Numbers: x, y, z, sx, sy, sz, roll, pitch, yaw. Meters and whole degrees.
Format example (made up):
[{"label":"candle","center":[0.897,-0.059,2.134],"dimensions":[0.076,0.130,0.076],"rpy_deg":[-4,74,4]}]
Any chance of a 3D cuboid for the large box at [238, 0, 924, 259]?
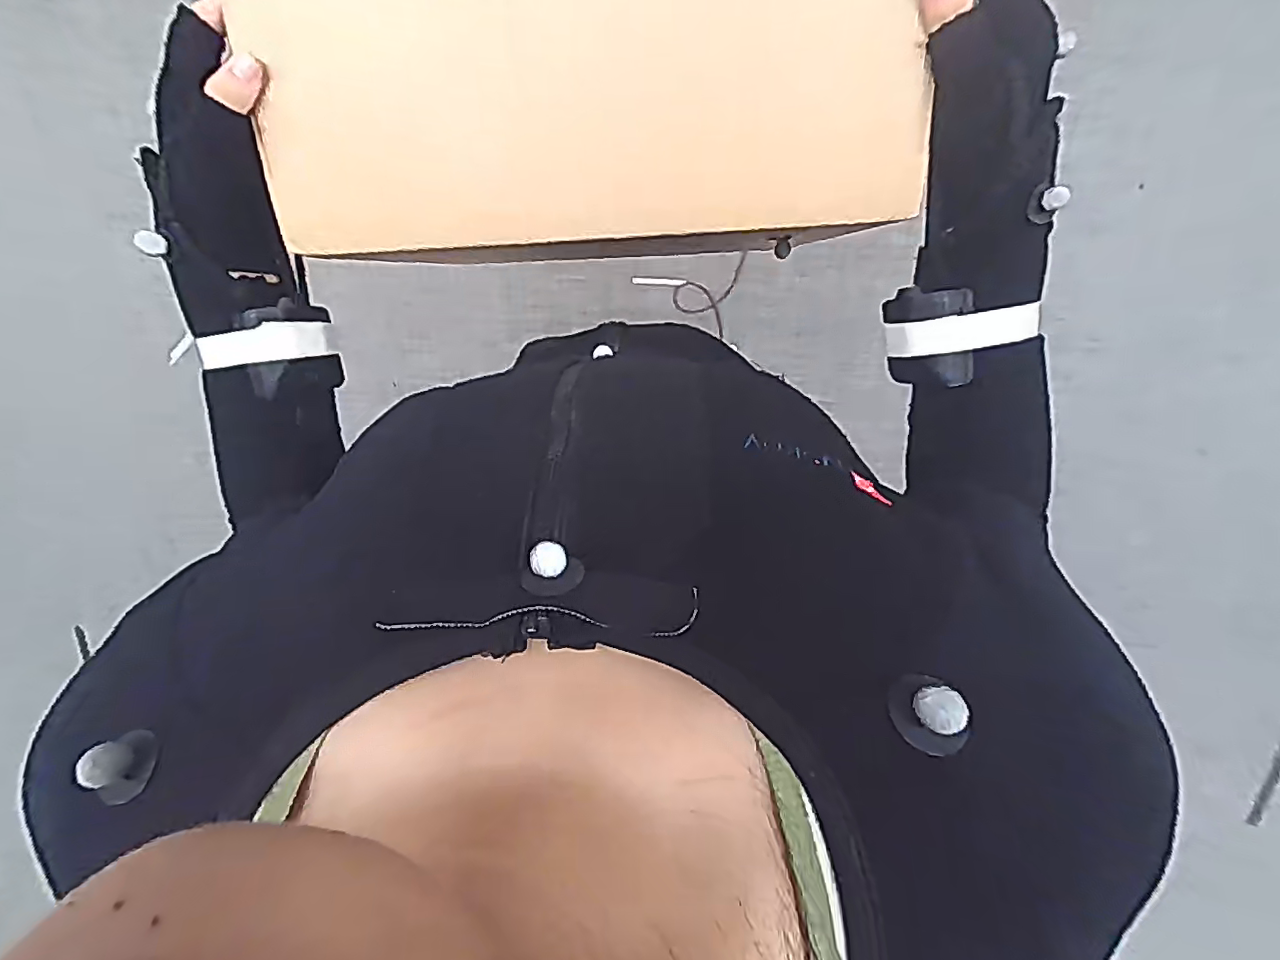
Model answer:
[{"label":"large box","center":[-0.033,-0.359,0.440],"dimensions":[0.408,0.320,0.320],"rpy_deg":[-2,110,2]}]
